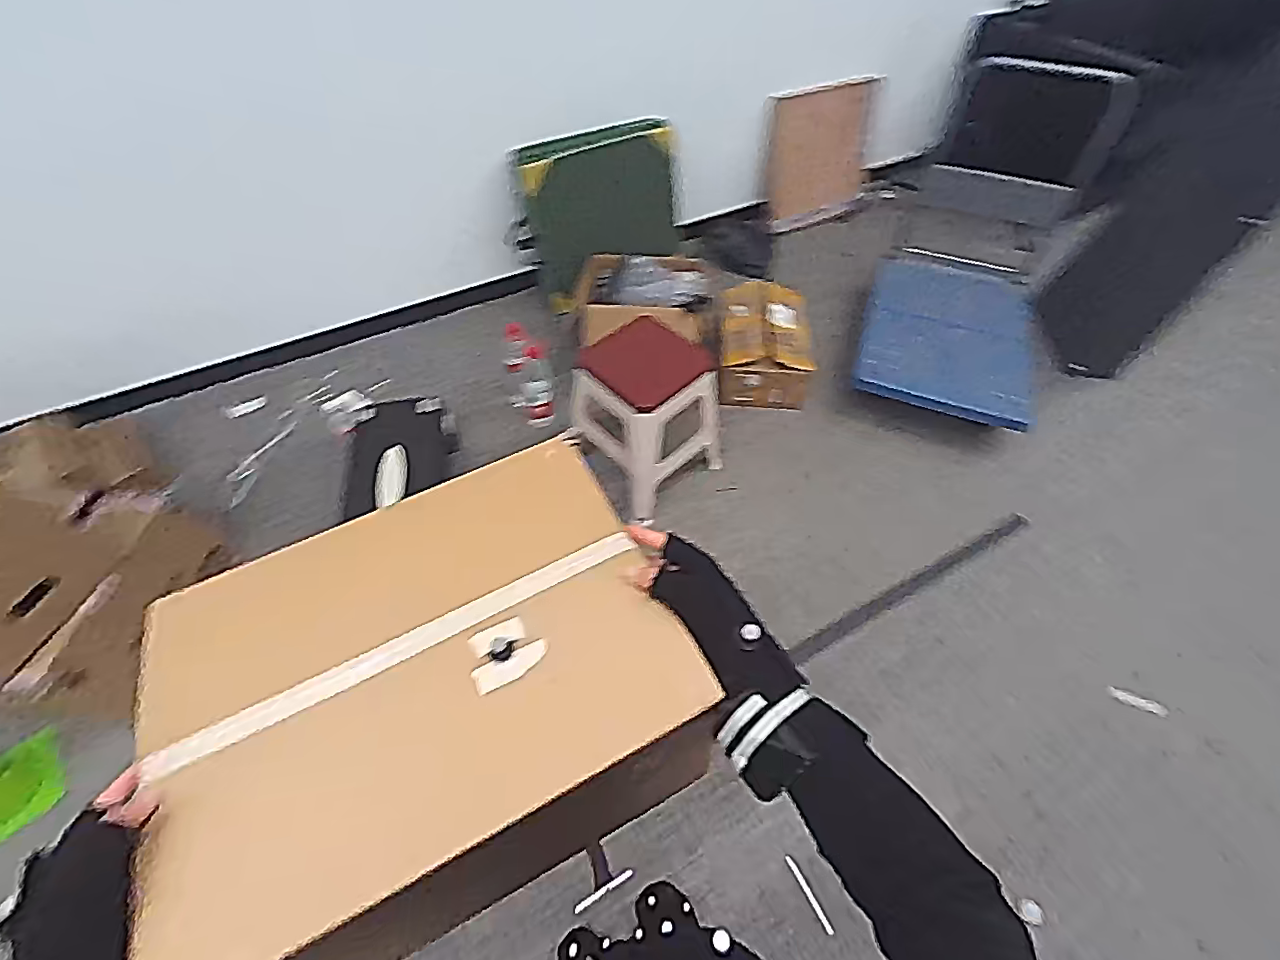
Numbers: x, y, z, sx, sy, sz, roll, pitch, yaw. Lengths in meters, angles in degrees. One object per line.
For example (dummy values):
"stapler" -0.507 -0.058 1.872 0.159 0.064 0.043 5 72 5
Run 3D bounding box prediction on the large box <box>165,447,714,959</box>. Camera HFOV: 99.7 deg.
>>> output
"large box" -0.174 0.235 0.578 0.408 0.320 0.320 -23 54 -14
